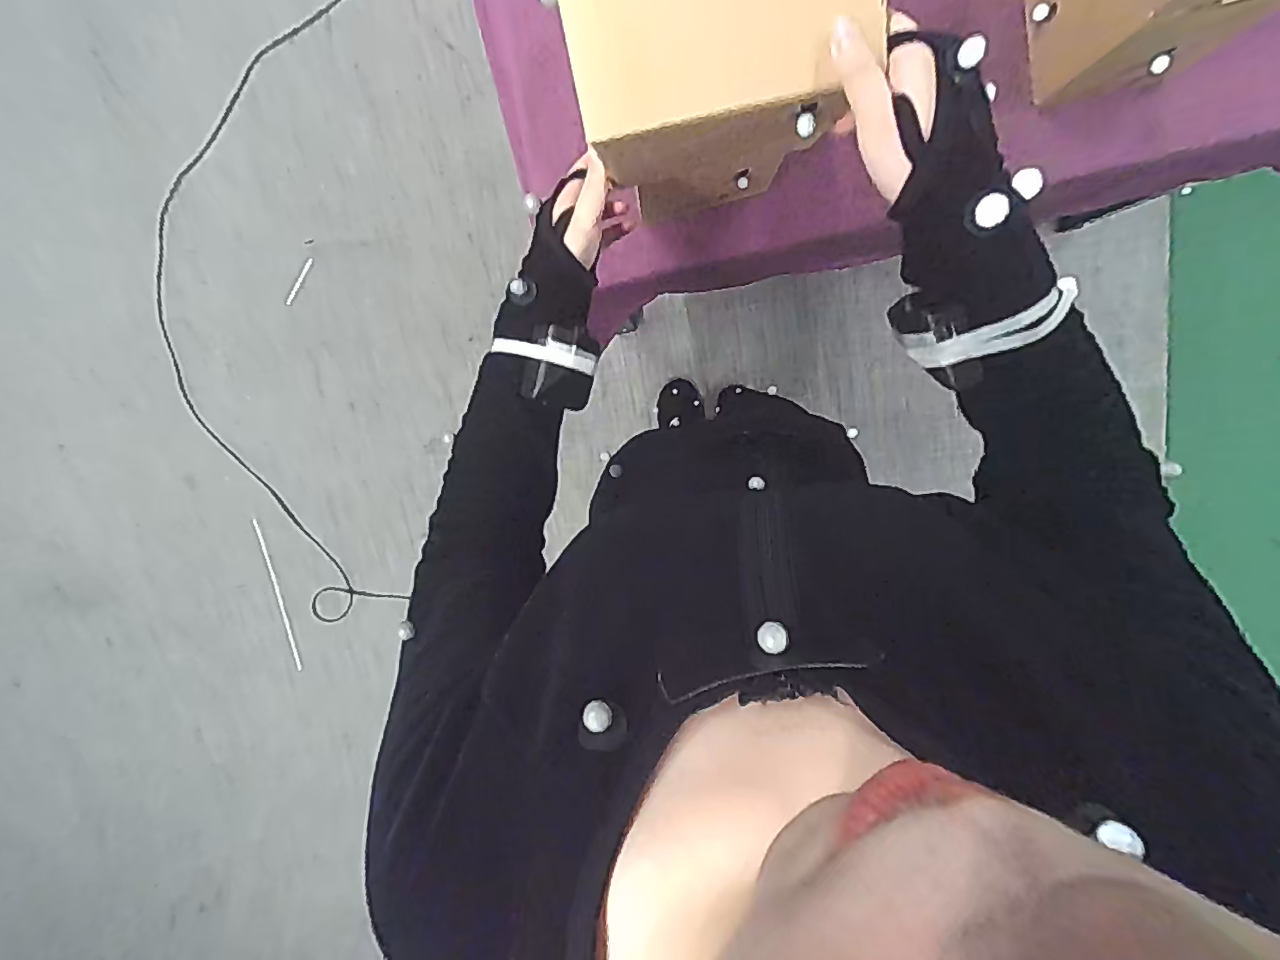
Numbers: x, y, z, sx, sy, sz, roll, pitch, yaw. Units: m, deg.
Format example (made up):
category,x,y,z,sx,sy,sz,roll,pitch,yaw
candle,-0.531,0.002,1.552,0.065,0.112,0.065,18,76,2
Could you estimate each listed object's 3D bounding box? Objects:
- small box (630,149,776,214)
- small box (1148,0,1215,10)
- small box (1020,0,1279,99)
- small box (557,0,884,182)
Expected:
category,x,y,z,sx,sy,sz,roll,pitch,yaw
small box,0.057,-0.419,0.605,0.168,0.176,0.179,-13,98,4
small box,0.526,-0.505,0.400,0.179,0.176,0.168,-12,99,5
small box,0.531,-0.535,0.562,0.168,0.176,0.179,-11,100,4
small box,0.038,-0.317,0.360,0.179,0.176,0.168,-11,109,4
